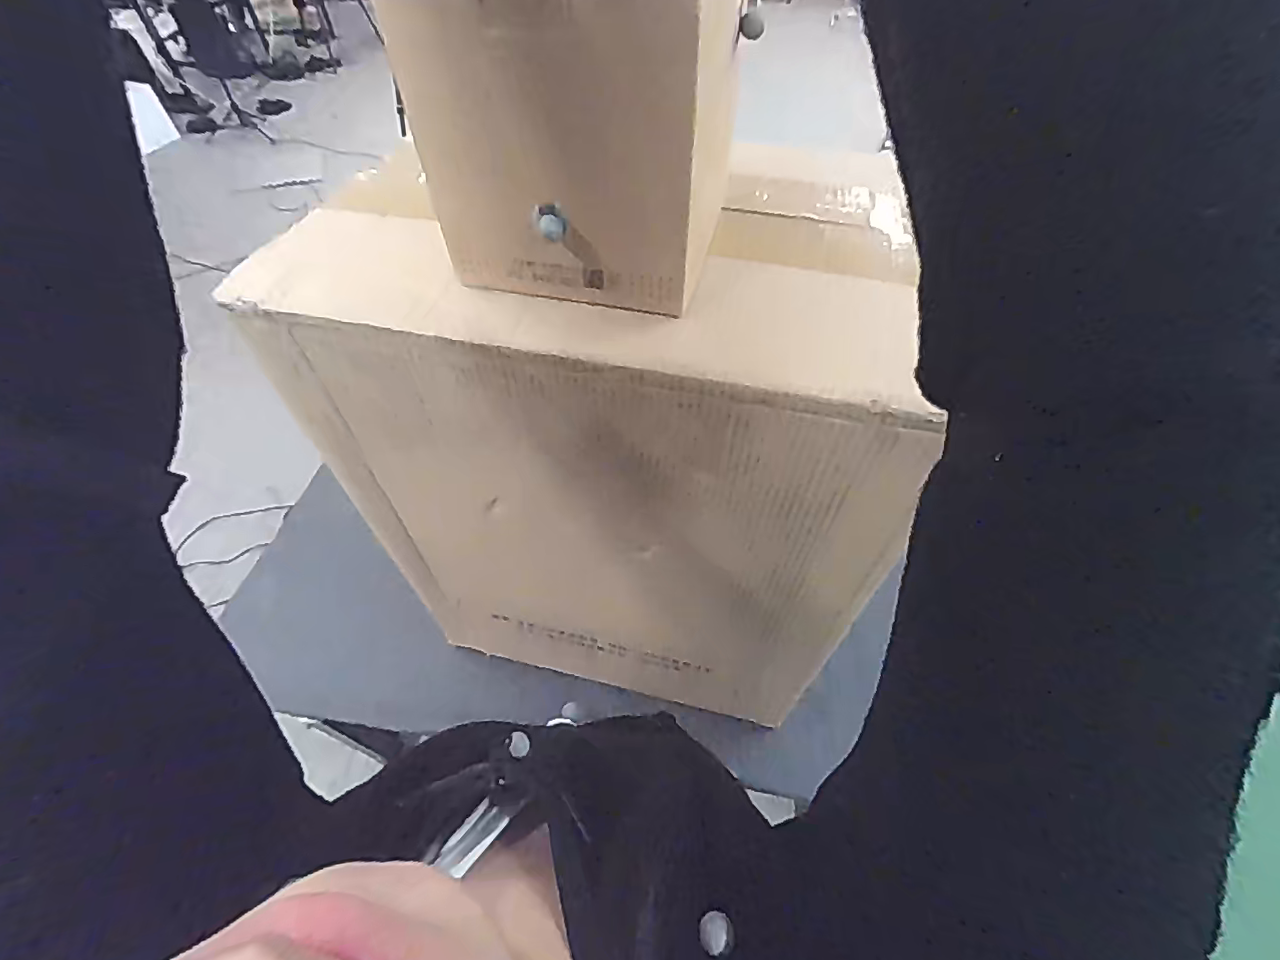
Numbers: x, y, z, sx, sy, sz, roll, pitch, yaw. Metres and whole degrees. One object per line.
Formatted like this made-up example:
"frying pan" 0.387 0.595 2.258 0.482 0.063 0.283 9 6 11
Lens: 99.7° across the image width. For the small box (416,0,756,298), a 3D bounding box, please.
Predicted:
"small box" -0.021 -0.252 0.364 0.168 0.176 0.179 11 54 9
